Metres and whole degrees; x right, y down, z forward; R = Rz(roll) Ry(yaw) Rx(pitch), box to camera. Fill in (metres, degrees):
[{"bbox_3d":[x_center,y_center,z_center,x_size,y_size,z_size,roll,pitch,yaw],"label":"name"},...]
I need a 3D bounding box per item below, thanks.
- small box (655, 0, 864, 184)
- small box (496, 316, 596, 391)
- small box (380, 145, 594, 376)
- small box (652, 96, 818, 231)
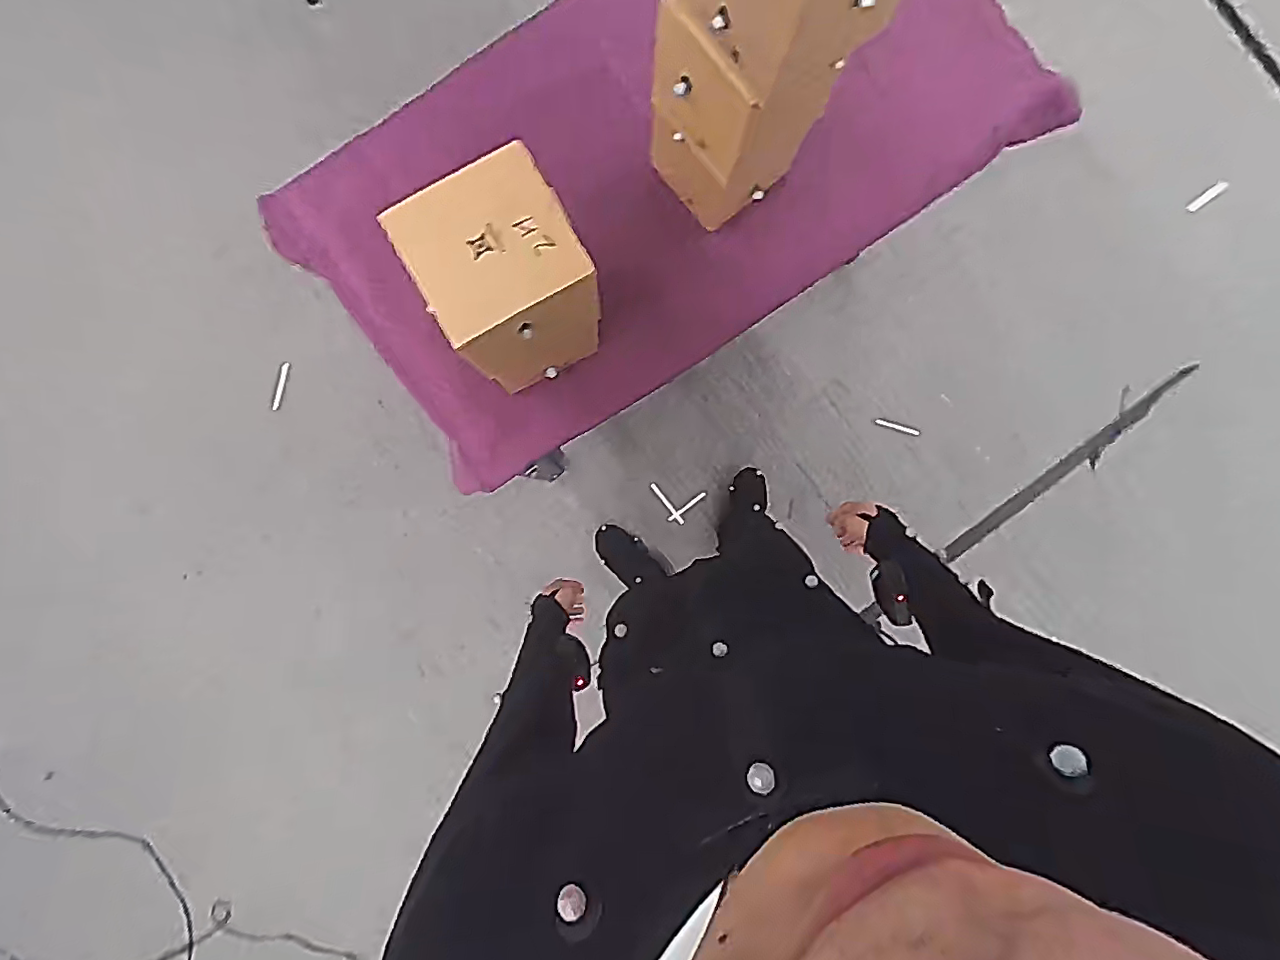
[{"bbox_3d":[0.133,-0.521,0.679,0.179,0.176,0.168,-40,90,-3],"label":"small box"},{"bbox_3d":[-0.177,-0.256,0.820,0.168,0.176,0.179,-28,91,-3],"label":"small box"},{"bbox_3d":[-0.167,-0.247,0.655,0.179,0.176,0.168,-30,91,-3],"label":"small box"},{"bbox_3d":[0.134,-0.535,0.842,0.179,0.176,0.168,-39,89,-4],"label":"small box"}]
